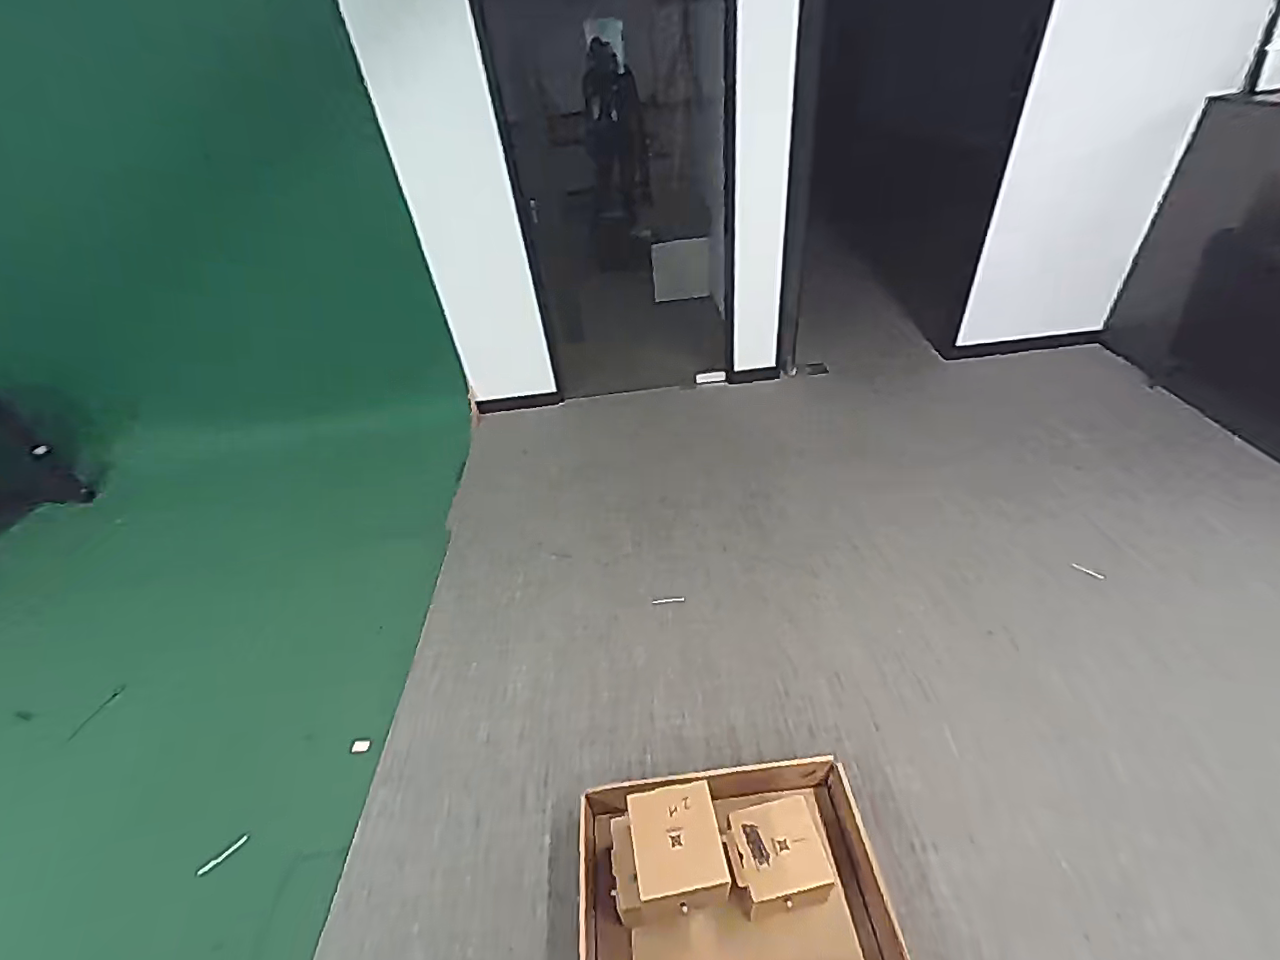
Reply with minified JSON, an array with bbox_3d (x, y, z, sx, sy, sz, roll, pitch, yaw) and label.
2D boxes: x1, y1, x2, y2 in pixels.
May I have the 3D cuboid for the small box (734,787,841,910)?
[{"bbox_3d":[0.316,0.810,1.186,0.179,0.176,0.168,-12,41,-4],"label":"small box"}]

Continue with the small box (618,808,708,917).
[{"bbox_3d":[0.053,0.839,1.198,0.179,0.176,0.168,-9,42,-3],"label":"small box"}]

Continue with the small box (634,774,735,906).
[{"bbox_3d":[0.087,0.722,1.078,0.168,0.176,0.179,-9,42,-4],"label":"small box"}]
